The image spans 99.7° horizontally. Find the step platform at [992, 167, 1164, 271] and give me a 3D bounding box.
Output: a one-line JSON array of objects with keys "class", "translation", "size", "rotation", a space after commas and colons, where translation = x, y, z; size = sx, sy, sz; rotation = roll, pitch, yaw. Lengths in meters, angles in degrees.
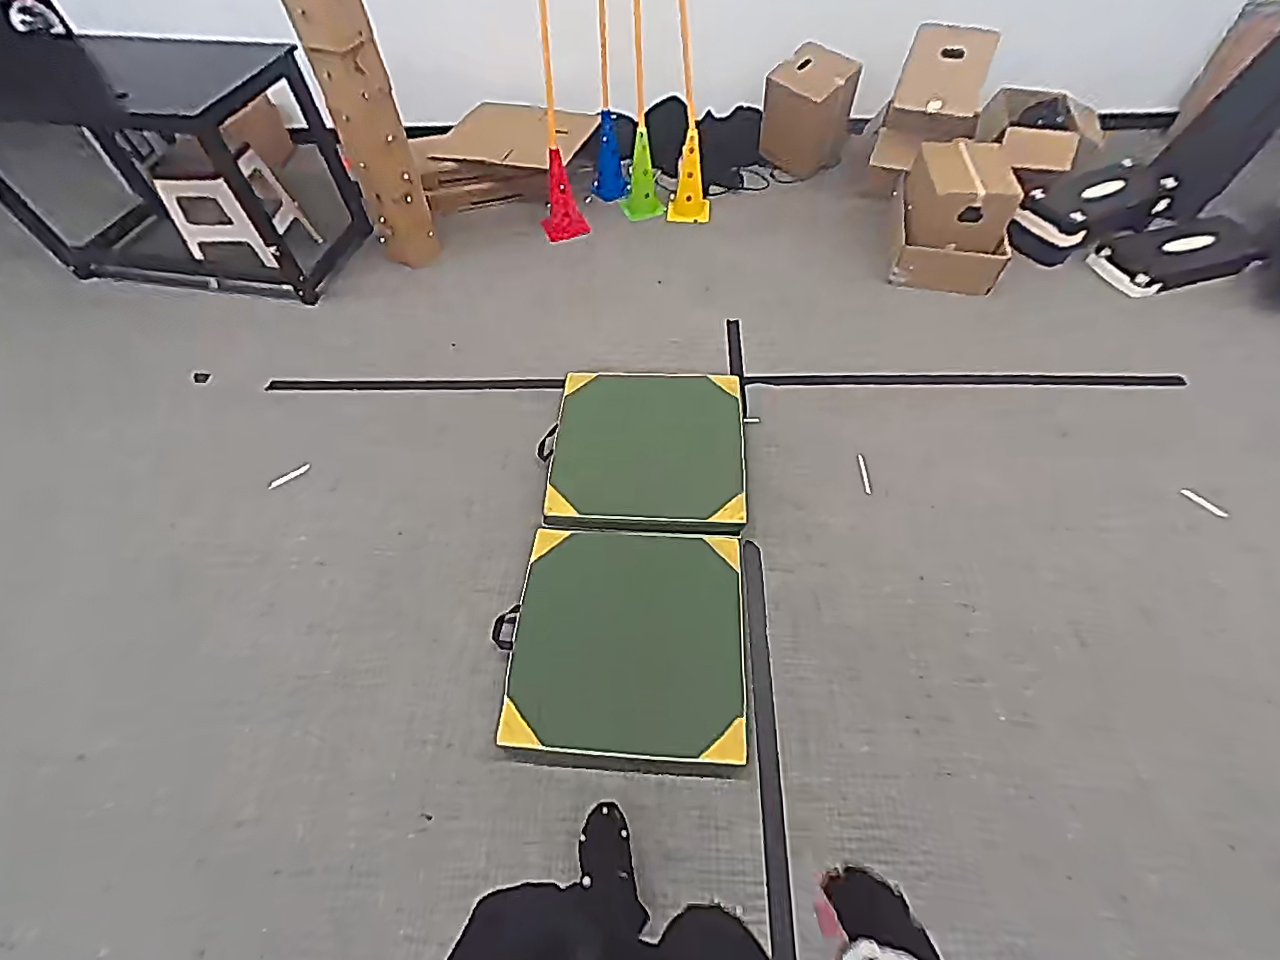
[{"class": "step platform", "translation": [1.946, -1.169, 2.404], "size": [0.684, 0.204, 0.286], "rotation": [-24, 59, -14]}]
